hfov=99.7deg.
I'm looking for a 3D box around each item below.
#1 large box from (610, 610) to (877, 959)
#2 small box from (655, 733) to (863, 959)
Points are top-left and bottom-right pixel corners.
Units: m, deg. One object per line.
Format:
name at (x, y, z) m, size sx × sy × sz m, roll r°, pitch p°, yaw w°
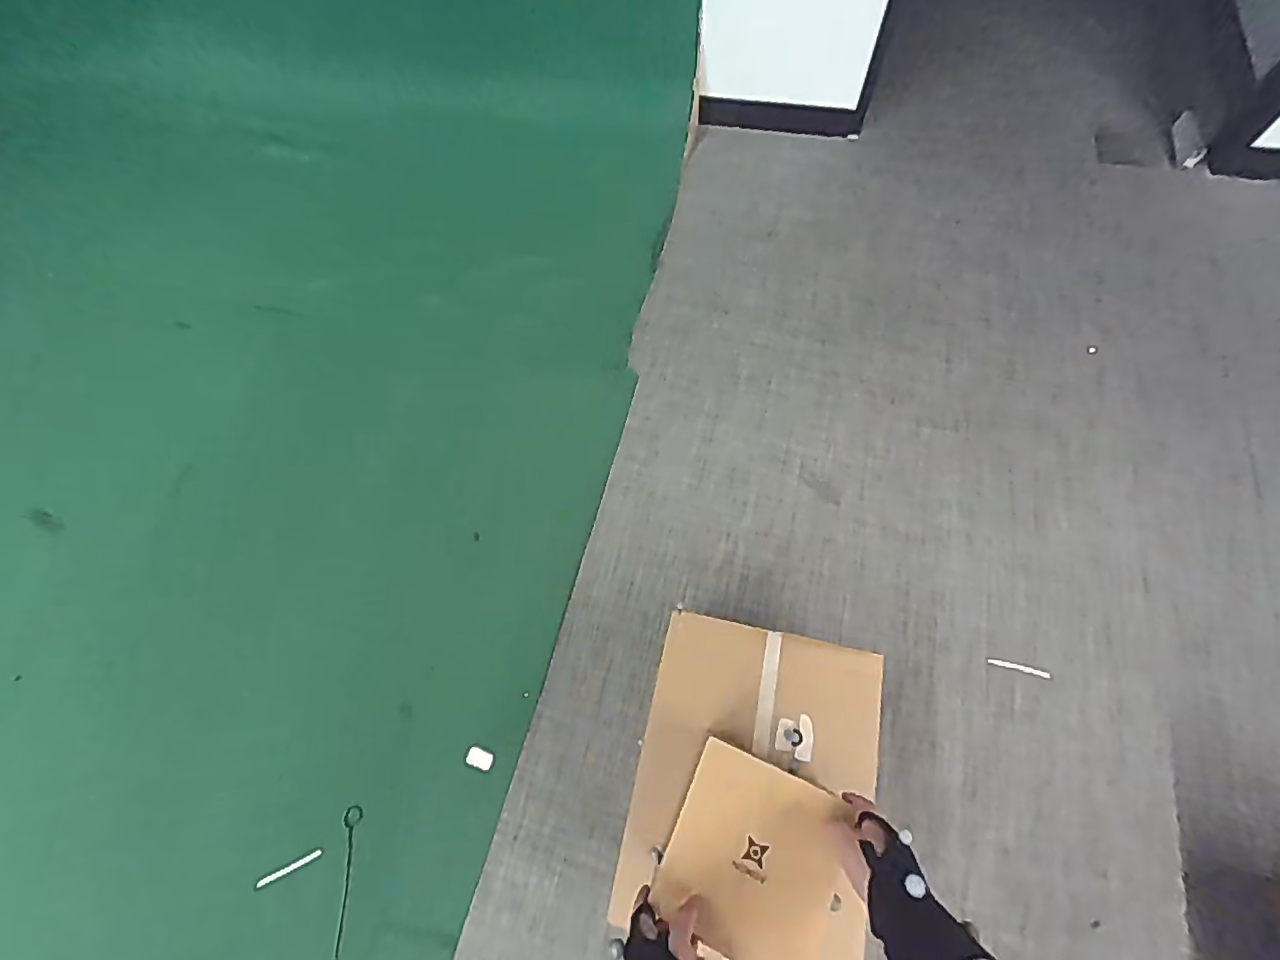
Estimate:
large box at (0.164, 0.463, 0.864) m, size 0.320 × 0.320 × 0.408 m, roll 11°, pitch 68°, yaw 9°
small box at (0.126, 0.410, 0.617) m, size 0.168 × 0.176 × 0.179 m, roll 21°, pitch 73°, yaw 13°
